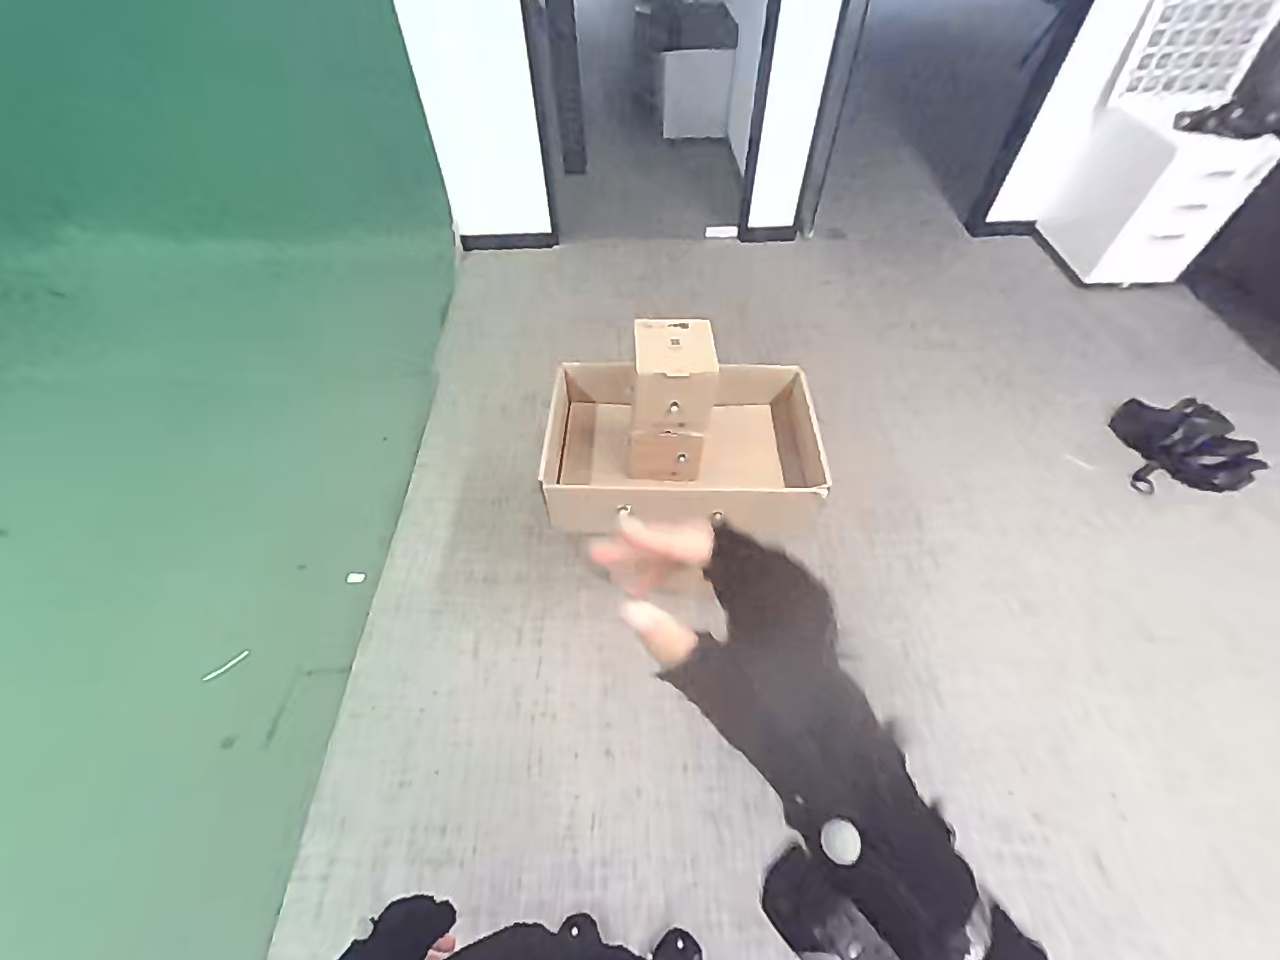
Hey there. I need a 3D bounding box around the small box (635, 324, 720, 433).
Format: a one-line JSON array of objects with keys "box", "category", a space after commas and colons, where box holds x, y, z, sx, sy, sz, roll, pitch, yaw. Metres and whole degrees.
[{"box": [0.075, -0.217, 1.178, 0.168, 0.176, 0.179, 0, 52, -3], "category": "small box"}]

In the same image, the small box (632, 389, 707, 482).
[{"box": [0.067, -0.110, 1.301, 0.168, 0.176, 0.179, 2, 50, -1], "category": "small box"}]
